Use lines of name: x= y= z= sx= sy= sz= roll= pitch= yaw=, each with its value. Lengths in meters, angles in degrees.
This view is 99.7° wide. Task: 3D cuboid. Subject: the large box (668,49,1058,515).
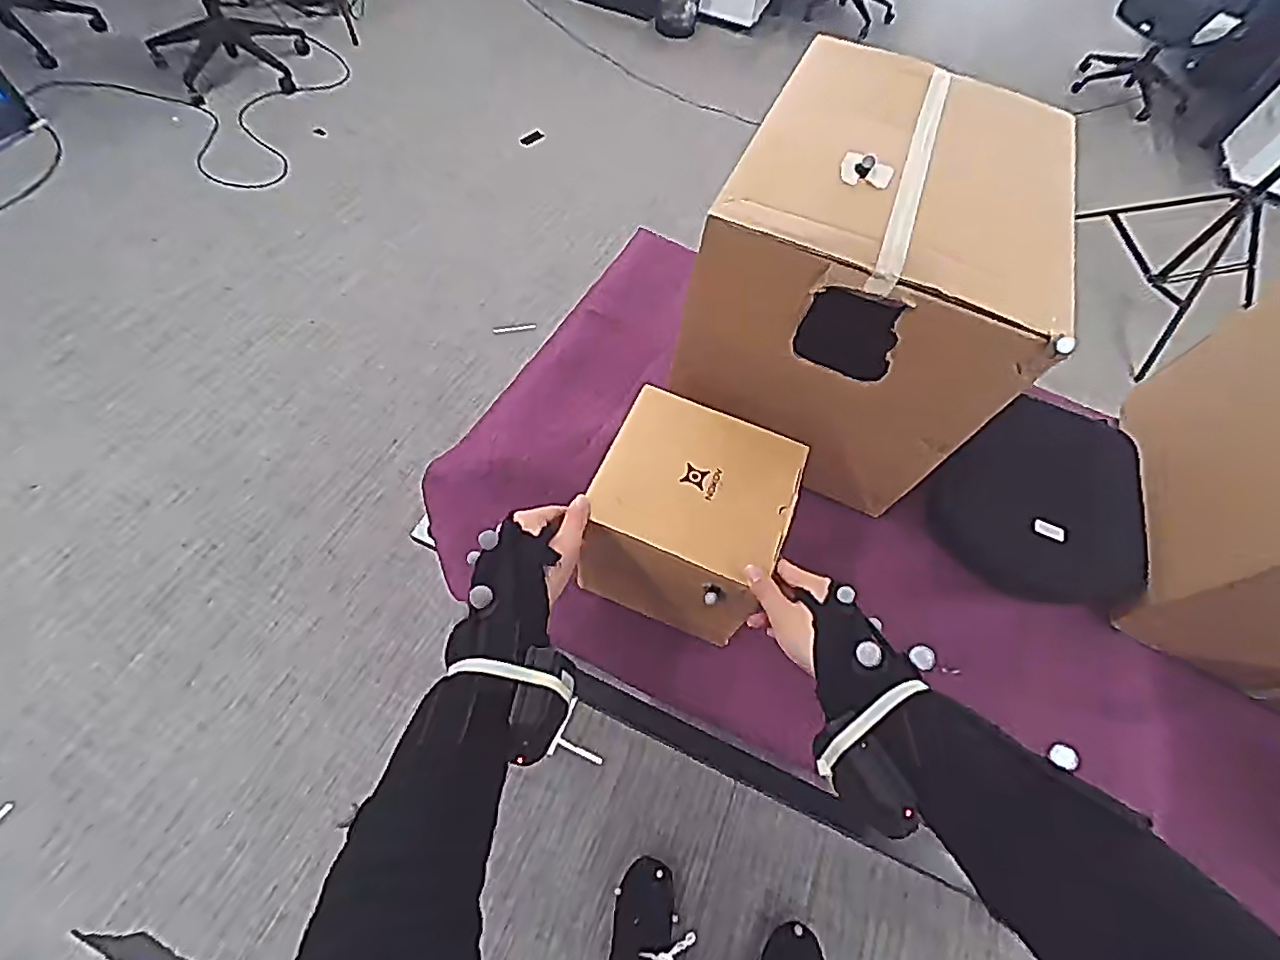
large box: x=0.252 y=-0.234 z=0.672 sx=0.320 sy=0.320 sz=0.408 roll=22 pitch=61 yaw=7

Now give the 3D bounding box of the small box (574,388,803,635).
small box: x=0.042 y=0.041 z=0.562 sx=0.179 sy=0.176 sz=0.168 roll=21 pitch=58 yaw=6
